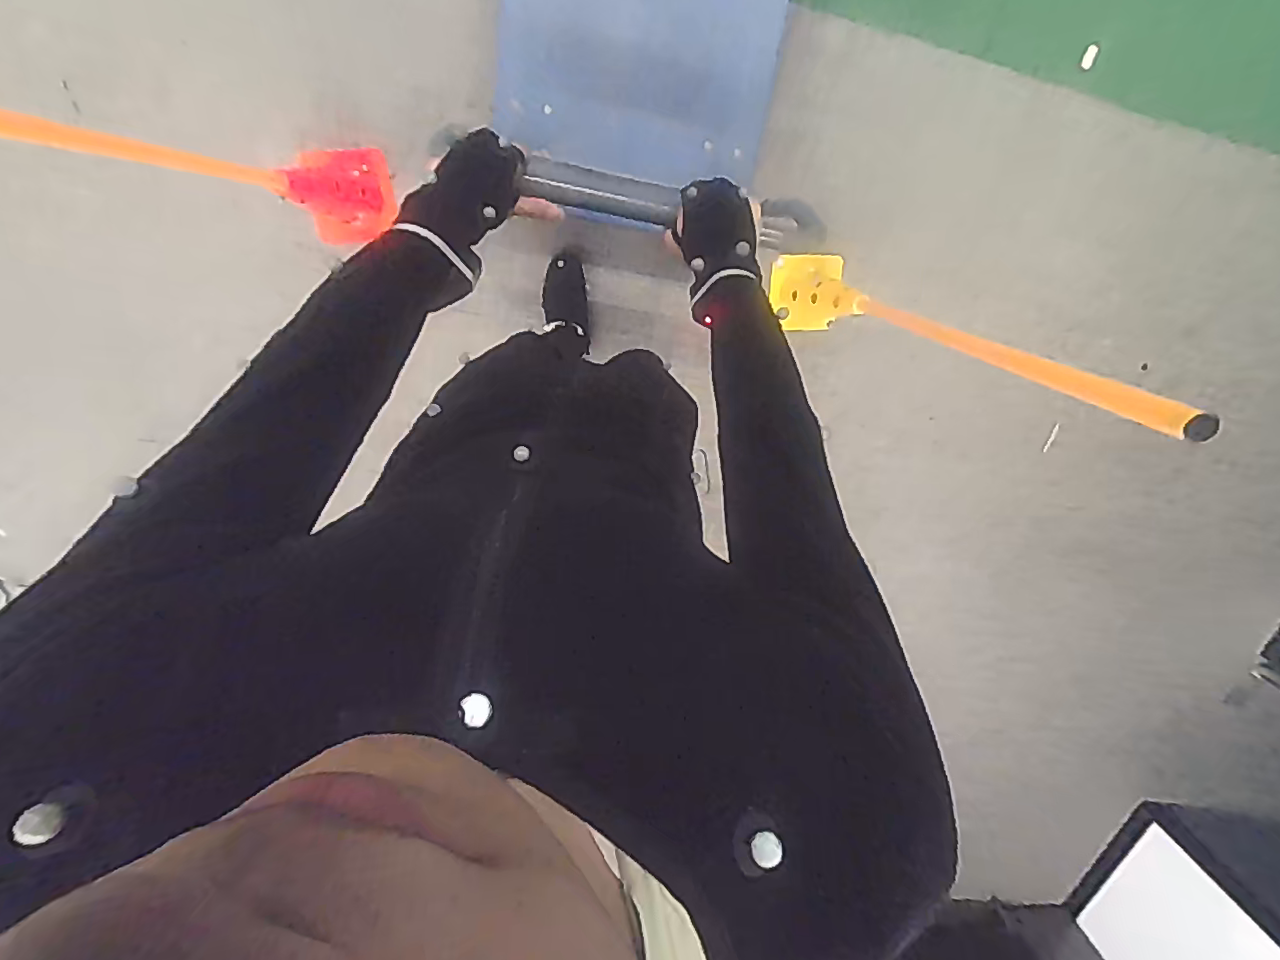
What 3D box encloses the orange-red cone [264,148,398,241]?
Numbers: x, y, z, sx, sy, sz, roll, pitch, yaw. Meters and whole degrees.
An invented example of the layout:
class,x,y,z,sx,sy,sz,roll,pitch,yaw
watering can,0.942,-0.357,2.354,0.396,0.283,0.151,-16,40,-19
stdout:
class,x,y,z,sx,sy,sz,roll,pitch,yaw
orange-red cone,-0.686,-0.621,1.151,0.199,0.360,0.198,-4,113,-2
